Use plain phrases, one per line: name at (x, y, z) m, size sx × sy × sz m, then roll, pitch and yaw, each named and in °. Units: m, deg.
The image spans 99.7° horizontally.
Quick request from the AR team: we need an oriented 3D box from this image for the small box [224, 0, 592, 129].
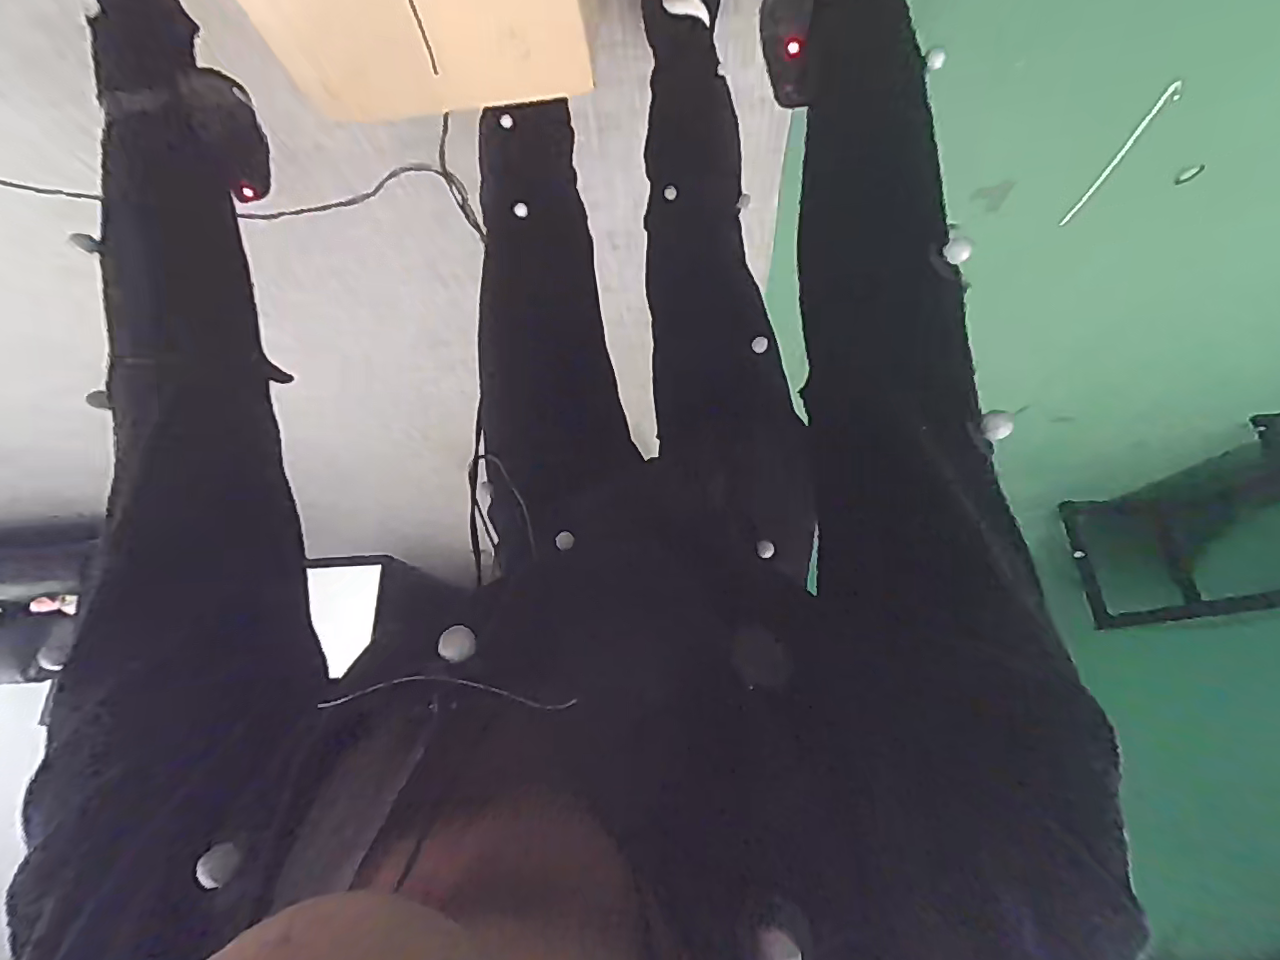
small box at (-0.119, -0.315, 0.256) m, size 0.168 × 0.176 × 0.179 m, roll -3°, pitch 160°, yaw 6°
